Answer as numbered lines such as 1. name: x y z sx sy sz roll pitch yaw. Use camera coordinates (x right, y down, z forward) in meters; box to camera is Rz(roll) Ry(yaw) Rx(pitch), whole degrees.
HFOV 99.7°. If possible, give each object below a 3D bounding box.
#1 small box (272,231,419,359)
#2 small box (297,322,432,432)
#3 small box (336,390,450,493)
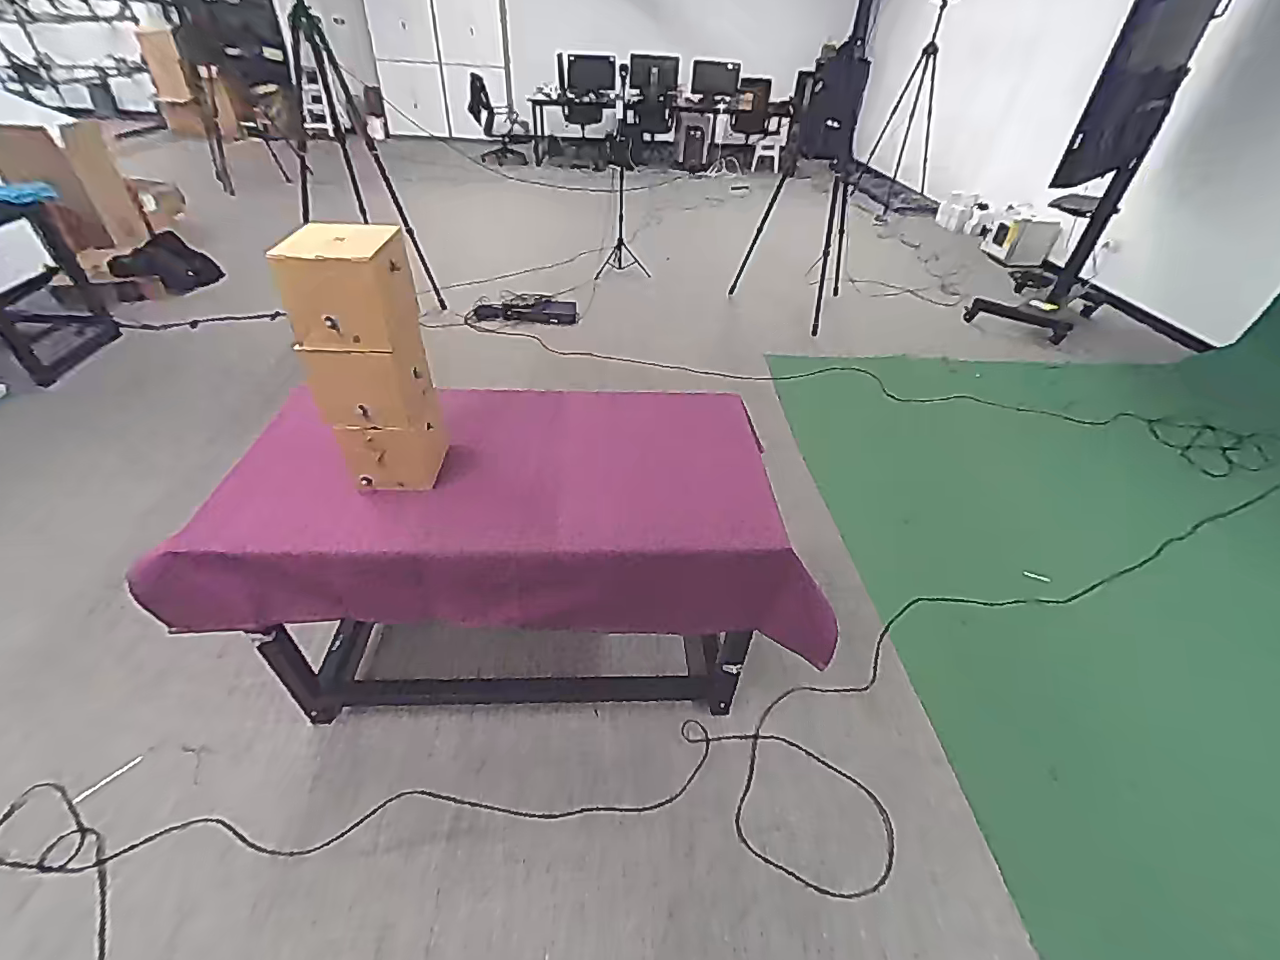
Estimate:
1. small box: -0.518 -0.338 0.984 0.168 0.176 0.179 0 41 -3
2. small box: -0.535 -0.209 1.083 0.179 0.176 0.168 2 39 -3
3. small box: -0.531 -0.084 1.191 0.168 0.176 0.179 1 39 -4
